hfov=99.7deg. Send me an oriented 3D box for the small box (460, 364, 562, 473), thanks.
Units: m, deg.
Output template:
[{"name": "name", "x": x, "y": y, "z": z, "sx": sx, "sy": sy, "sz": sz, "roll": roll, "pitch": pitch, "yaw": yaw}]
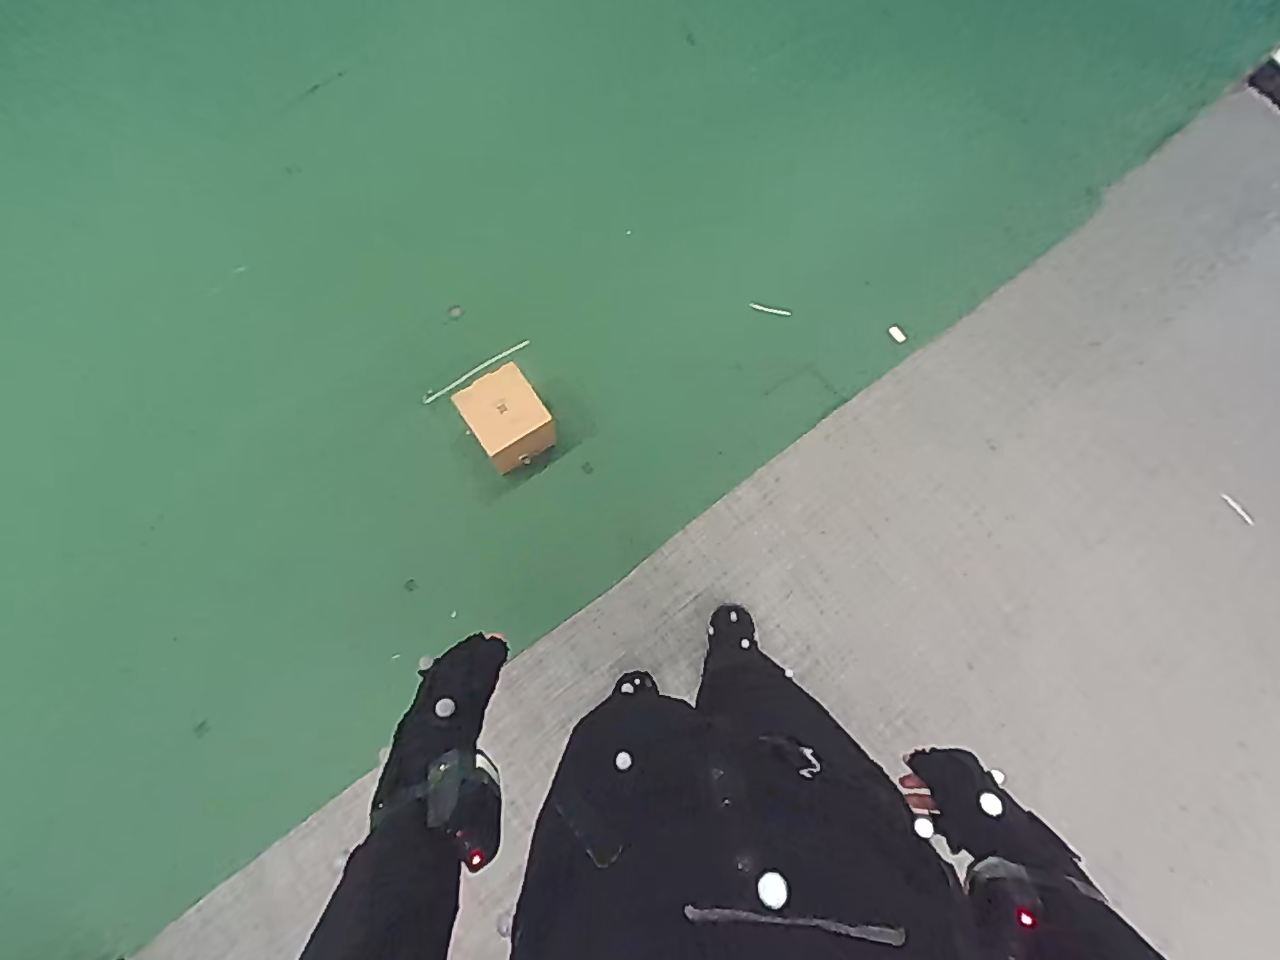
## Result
[{"name": "small box", "x": -0.305, "y": -0.142, "z": 1.309, "sx": 0.168, "sy": 0.176, "sz": 0.179, "roll": -34, "pitch": 81, "yaw": -11}]
